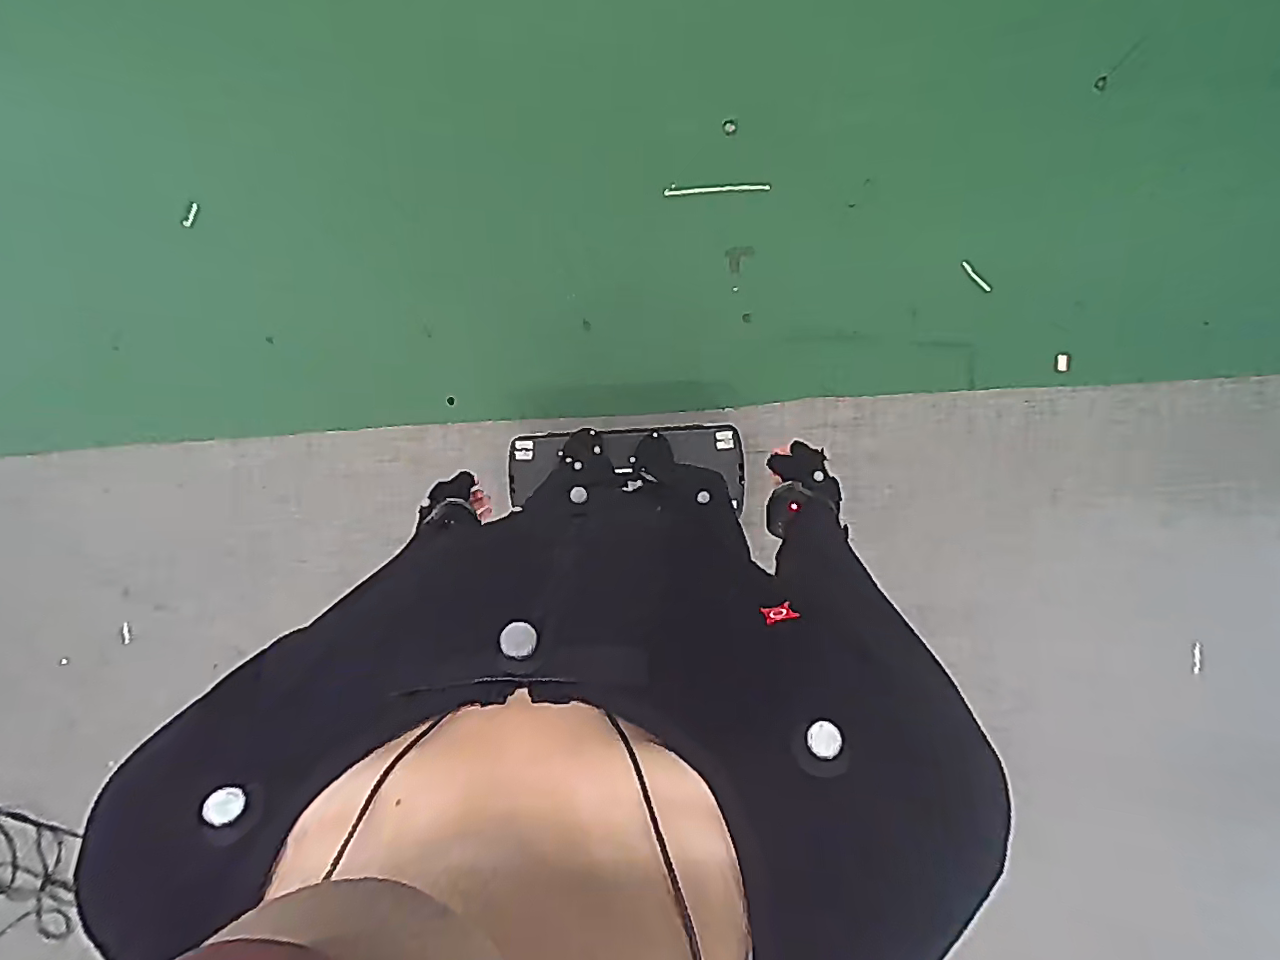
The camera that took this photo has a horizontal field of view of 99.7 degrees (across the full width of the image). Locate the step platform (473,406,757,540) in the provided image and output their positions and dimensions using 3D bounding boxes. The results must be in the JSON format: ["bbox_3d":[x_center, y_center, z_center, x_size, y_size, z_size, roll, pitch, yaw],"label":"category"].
[{"bbox_3d":[-0.058,-0.024,1.384,0.684,0.204,0.286,-4,95,2],"label":"step platform"}]
